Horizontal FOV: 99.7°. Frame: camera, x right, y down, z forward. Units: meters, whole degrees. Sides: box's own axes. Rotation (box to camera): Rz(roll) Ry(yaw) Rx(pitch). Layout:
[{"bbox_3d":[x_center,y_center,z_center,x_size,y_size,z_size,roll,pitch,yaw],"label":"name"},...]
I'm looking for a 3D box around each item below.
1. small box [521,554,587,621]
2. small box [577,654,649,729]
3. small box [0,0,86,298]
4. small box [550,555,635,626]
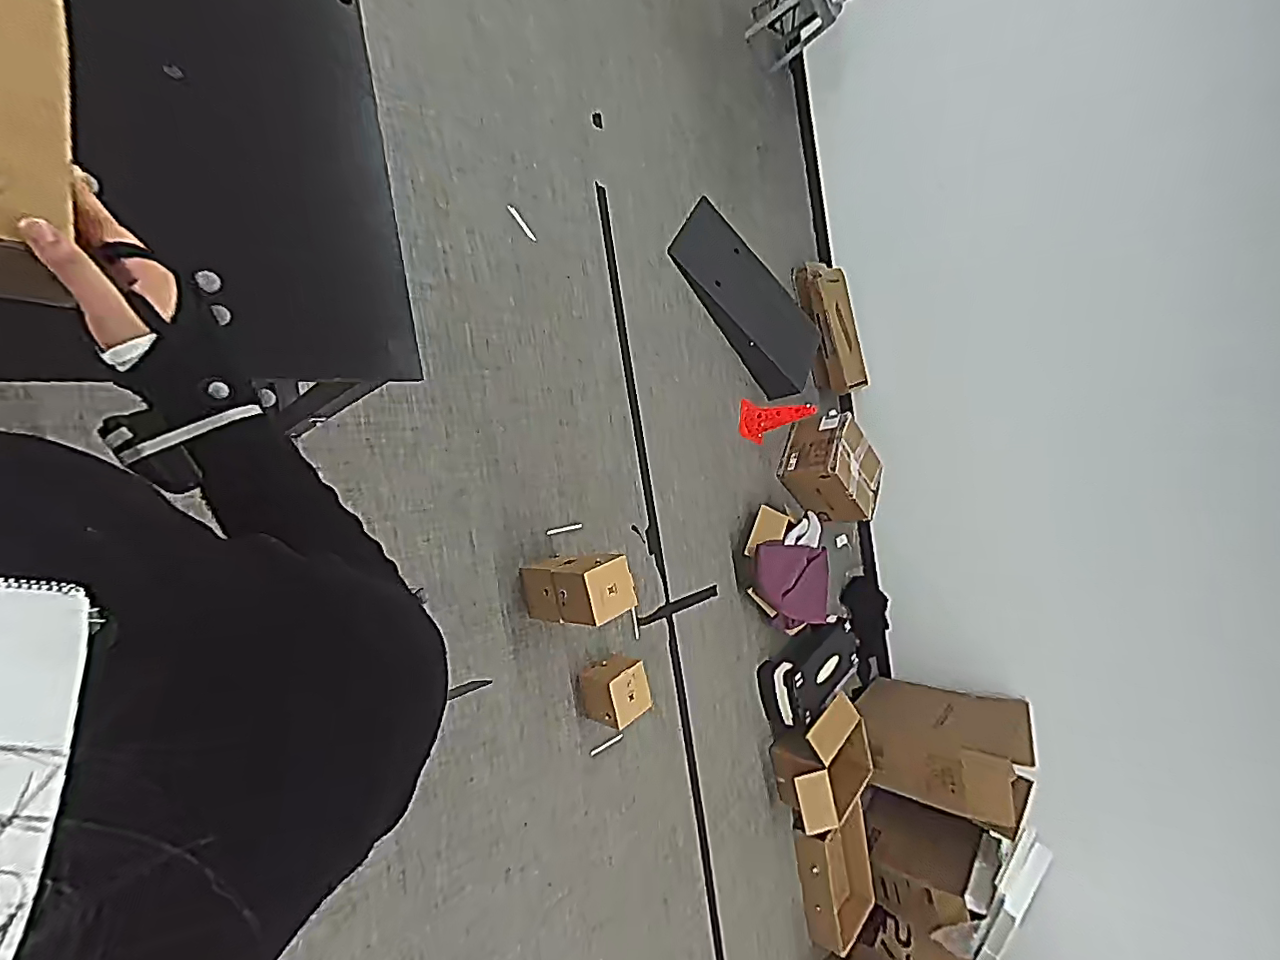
[{"bbox_3d":[-0.269,0.348,1.769,0.168,0.176,0.179,-14,95,-45],"label":"small box"},{"bbox_3d":[-0.096,0.735,1.895,0.168,0.176,0.179,-19,98,-45],"label":"small box"},{"bbox_3d":[-0.471,-0.226,0.341,0.168,0.176,0.179,-3,95,-45],"label":"small box"},{"bbox_3d":[-0.148,0.331,1.662,0.179,0.176,0.168,-19,97,-43],"label":"small box"}]
